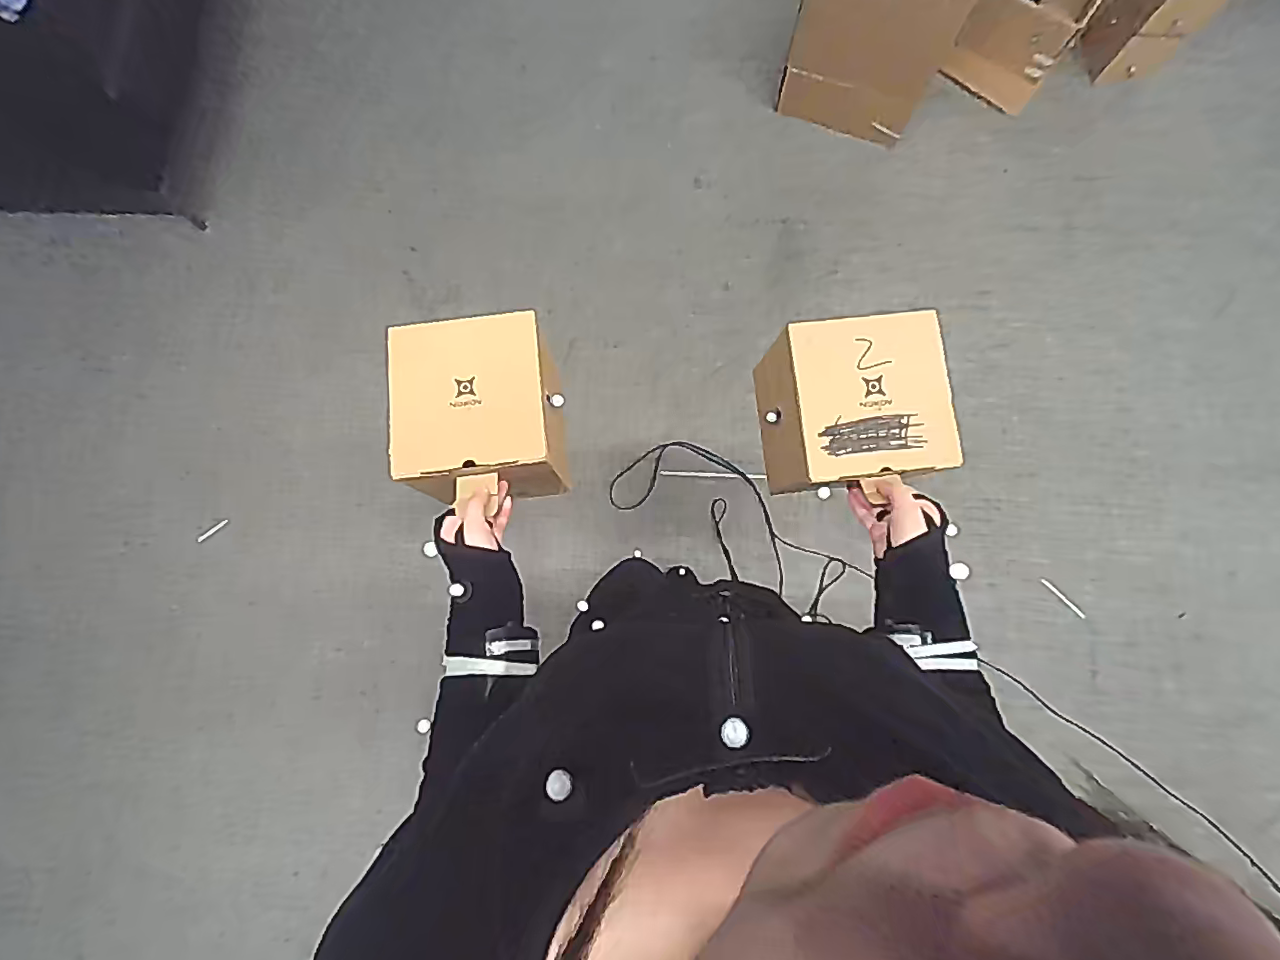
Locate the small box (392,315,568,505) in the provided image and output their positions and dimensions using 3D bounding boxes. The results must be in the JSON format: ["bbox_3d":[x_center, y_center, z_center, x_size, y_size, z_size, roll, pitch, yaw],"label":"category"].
[{"bbox_3d":[-0.183,-0.075,0.658,0.168,0.176,0.179,-6,78,-1],"label":"small box"}]
